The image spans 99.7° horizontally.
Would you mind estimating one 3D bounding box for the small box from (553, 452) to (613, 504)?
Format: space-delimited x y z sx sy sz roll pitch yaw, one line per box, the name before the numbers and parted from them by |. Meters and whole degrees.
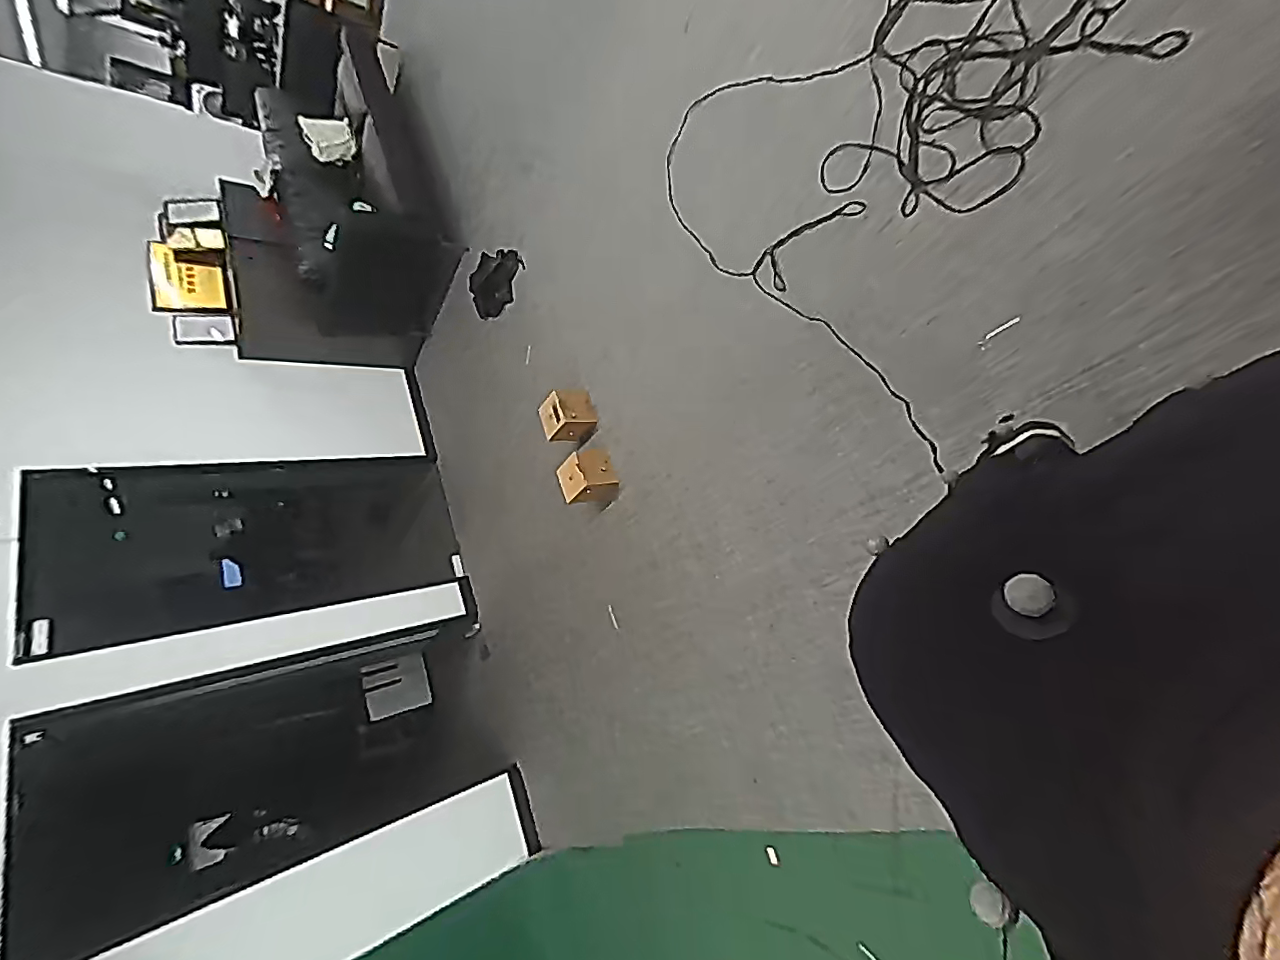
small box | -0.245 -0.008 2.318 0.179 0.176 0.168 -42 62 43
